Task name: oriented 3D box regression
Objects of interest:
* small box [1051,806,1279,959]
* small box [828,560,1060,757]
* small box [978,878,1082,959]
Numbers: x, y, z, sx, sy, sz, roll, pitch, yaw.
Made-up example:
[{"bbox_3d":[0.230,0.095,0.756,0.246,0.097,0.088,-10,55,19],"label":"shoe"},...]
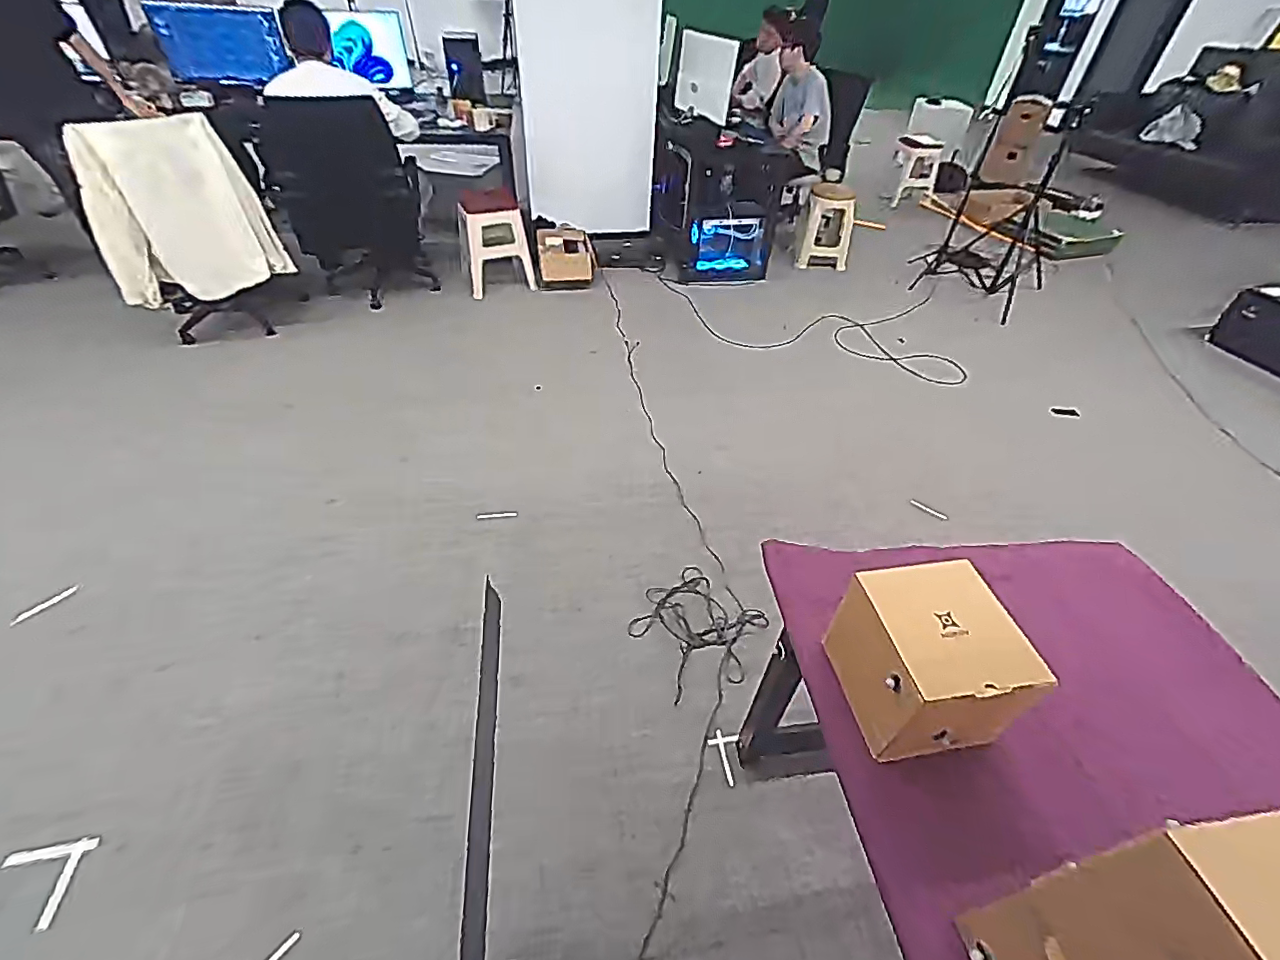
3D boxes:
[{"bbox_3d":[0.432,0.335,0.354,0.168,0.176,0.179,-4,45,-7],"label":"small box"},{"bbox_3d":[0.370,0.229,0.702,0.168,0.176,0.179,-5,45,-9],"label":"small box"},{"bbox_3d":[0.438,0.450,0.473,0.179,0.176,0.168,-5,44,-10],"label":"small box"}]
